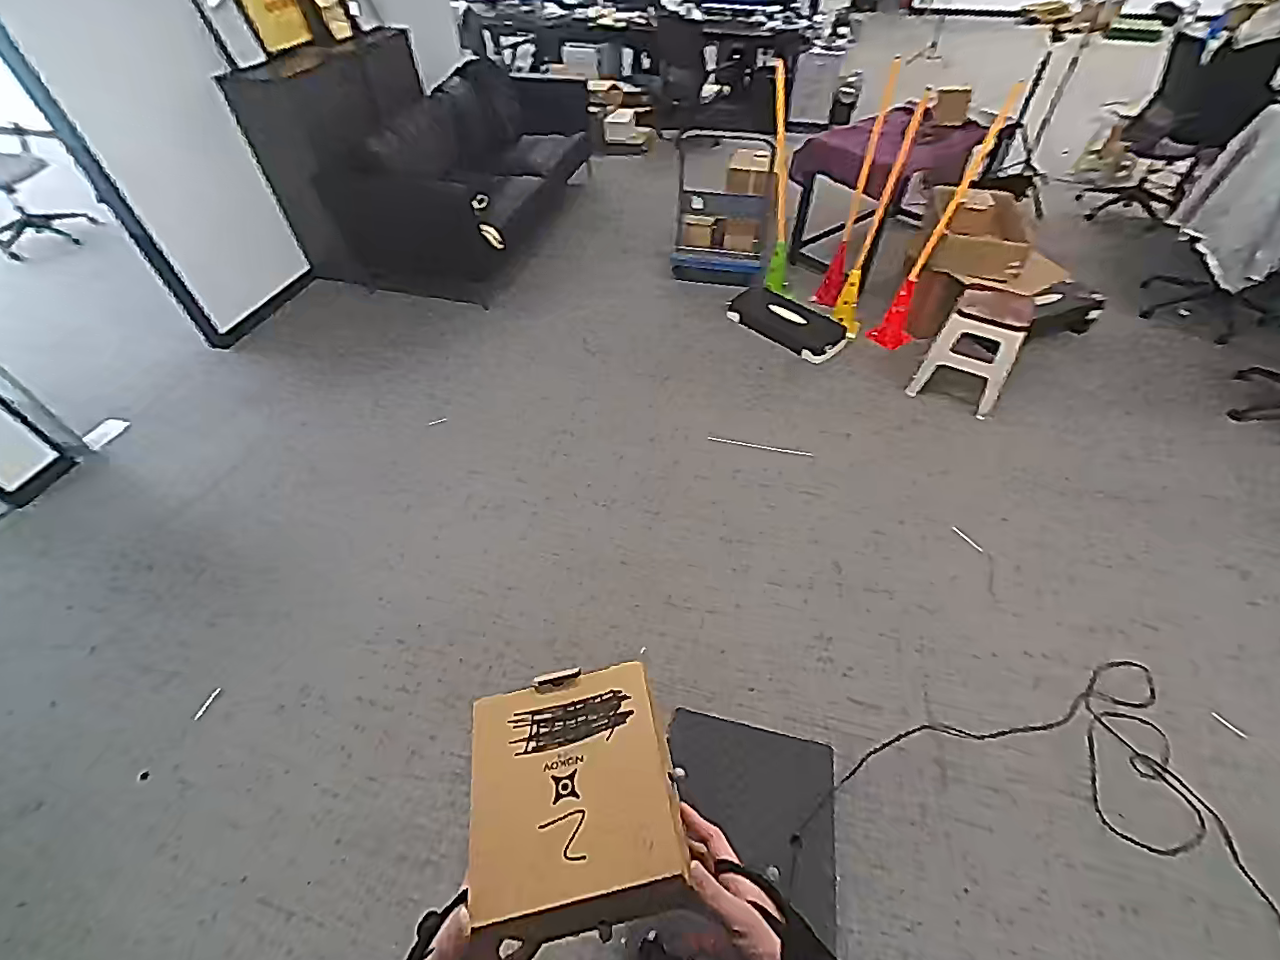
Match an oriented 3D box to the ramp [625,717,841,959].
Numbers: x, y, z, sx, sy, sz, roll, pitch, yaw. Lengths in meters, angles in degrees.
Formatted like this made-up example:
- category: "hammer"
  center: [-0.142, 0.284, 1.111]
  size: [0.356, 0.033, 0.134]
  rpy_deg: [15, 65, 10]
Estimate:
- category: "ramp"
  center: [0.227, 1.085, 1.295]
  size: [0.509, 0.206, 0.991]
  rpy_deg: [8, 49, 10]
